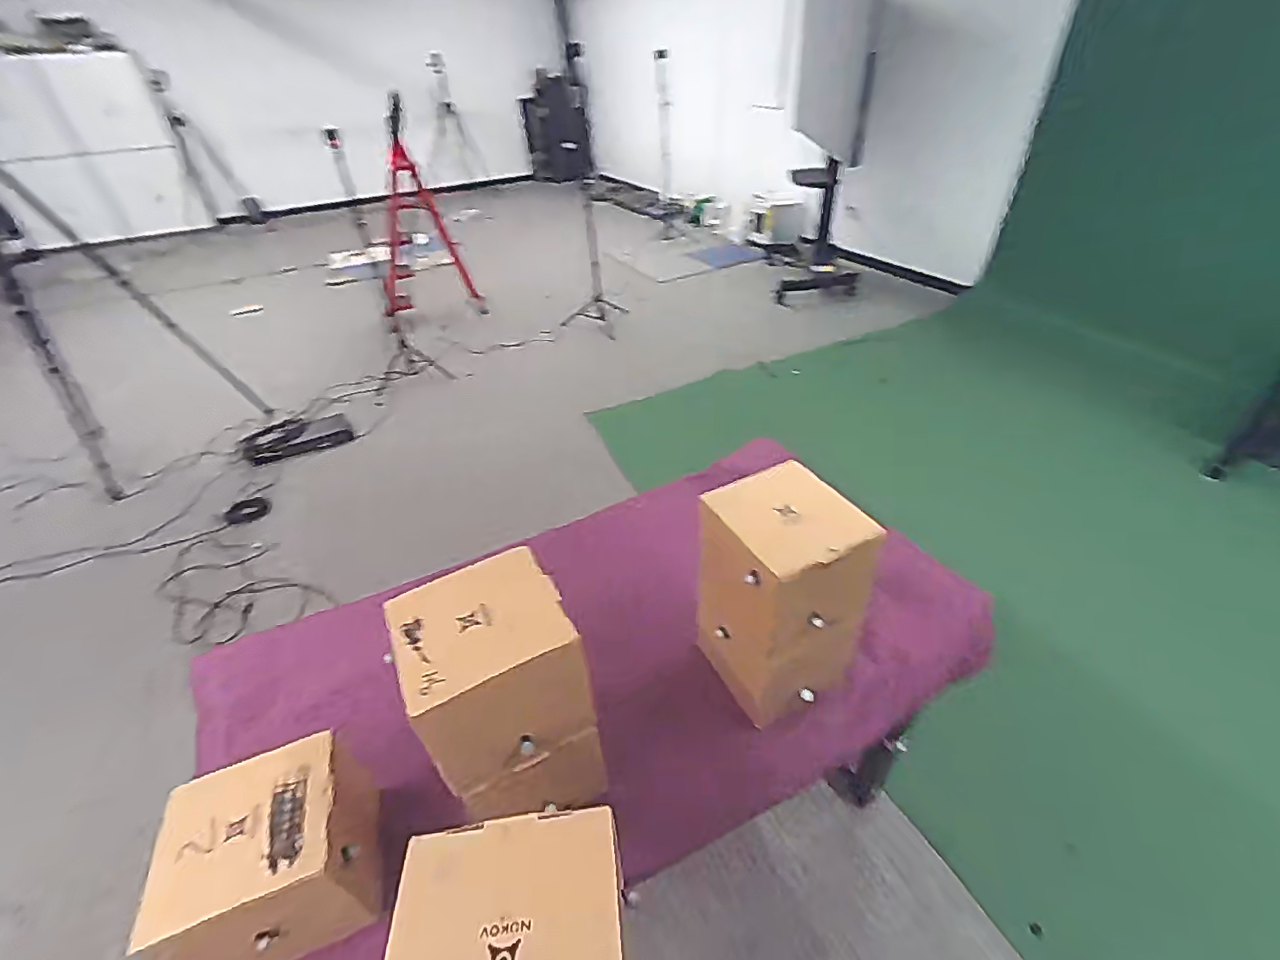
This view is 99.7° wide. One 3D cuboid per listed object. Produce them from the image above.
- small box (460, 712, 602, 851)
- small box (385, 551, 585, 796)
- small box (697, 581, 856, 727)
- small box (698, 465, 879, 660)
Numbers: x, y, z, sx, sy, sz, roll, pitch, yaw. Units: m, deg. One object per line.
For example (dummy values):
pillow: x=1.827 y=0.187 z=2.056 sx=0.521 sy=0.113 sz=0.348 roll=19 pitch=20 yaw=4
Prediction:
small box: x=-0.164 y=0.349 z=0.732 sx=0.168 sy=0.176 sz=0.179 roll=-21 pitch=40 yaw=-21
small box: x=-0.172 y=0.220 z=0.632 sx=0.179 sy=0.176 sz=0.168 roll=-20 pitch=39 yaw=-22
small box: x=0.199 y=0.242 z=0.846 sx=0.168 sy=0.176 sz=0.179 roll=-20 pitch=41 yaw=-20
small box: x=0.190 y=0.110 z=0.751 sx=0.168 sy=0.176 sz=0.179 roll=-20 pitch=41 yaw=-20
